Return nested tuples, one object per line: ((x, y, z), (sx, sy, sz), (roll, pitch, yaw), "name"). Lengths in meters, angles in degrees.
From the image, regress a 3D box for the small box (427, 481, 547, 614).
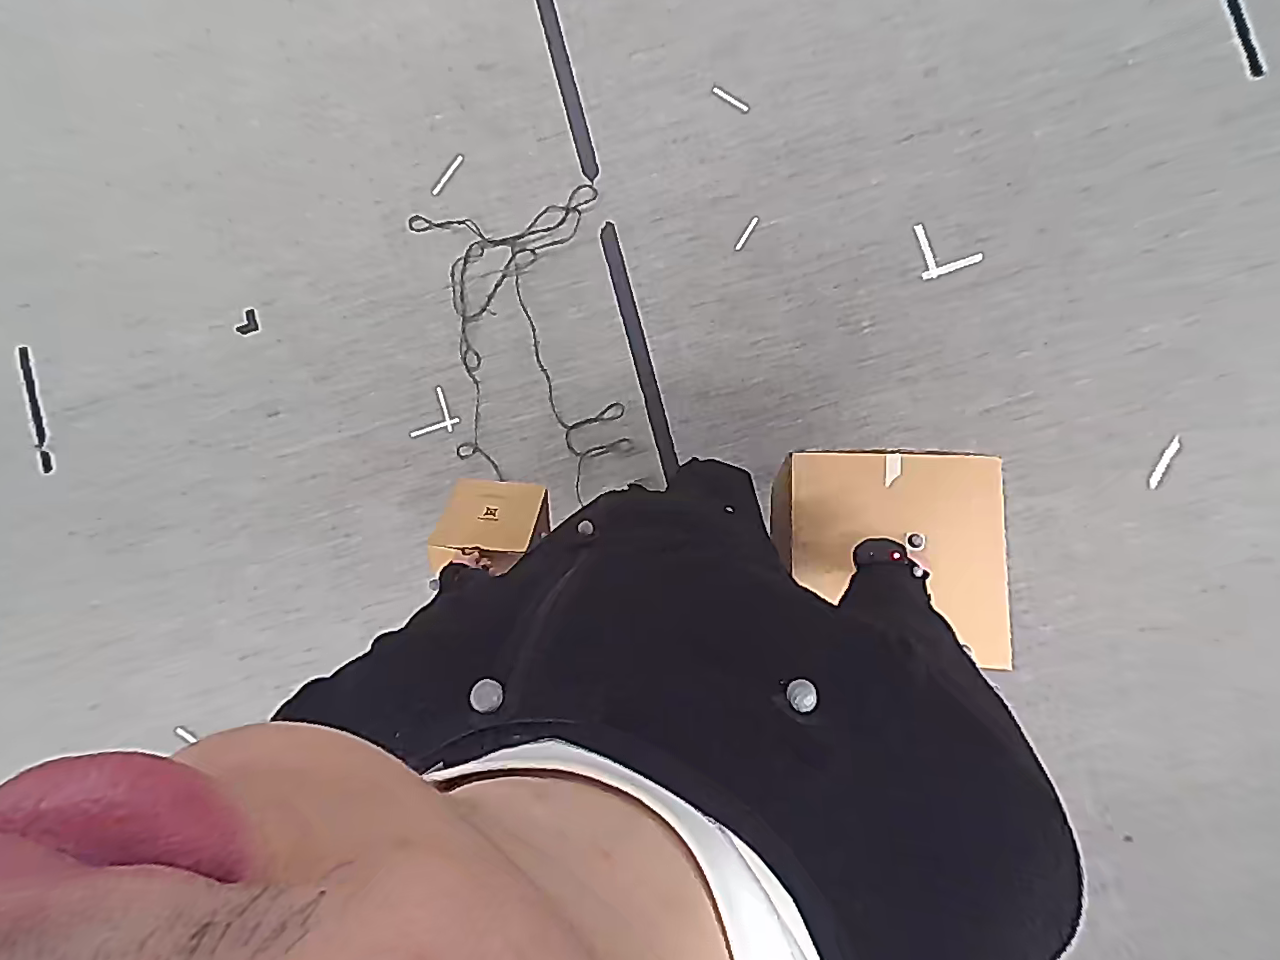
((-0.267, 0.125, 0.994), (0.168, 0.179, 0.176), (5, 128, 0), "small box")
